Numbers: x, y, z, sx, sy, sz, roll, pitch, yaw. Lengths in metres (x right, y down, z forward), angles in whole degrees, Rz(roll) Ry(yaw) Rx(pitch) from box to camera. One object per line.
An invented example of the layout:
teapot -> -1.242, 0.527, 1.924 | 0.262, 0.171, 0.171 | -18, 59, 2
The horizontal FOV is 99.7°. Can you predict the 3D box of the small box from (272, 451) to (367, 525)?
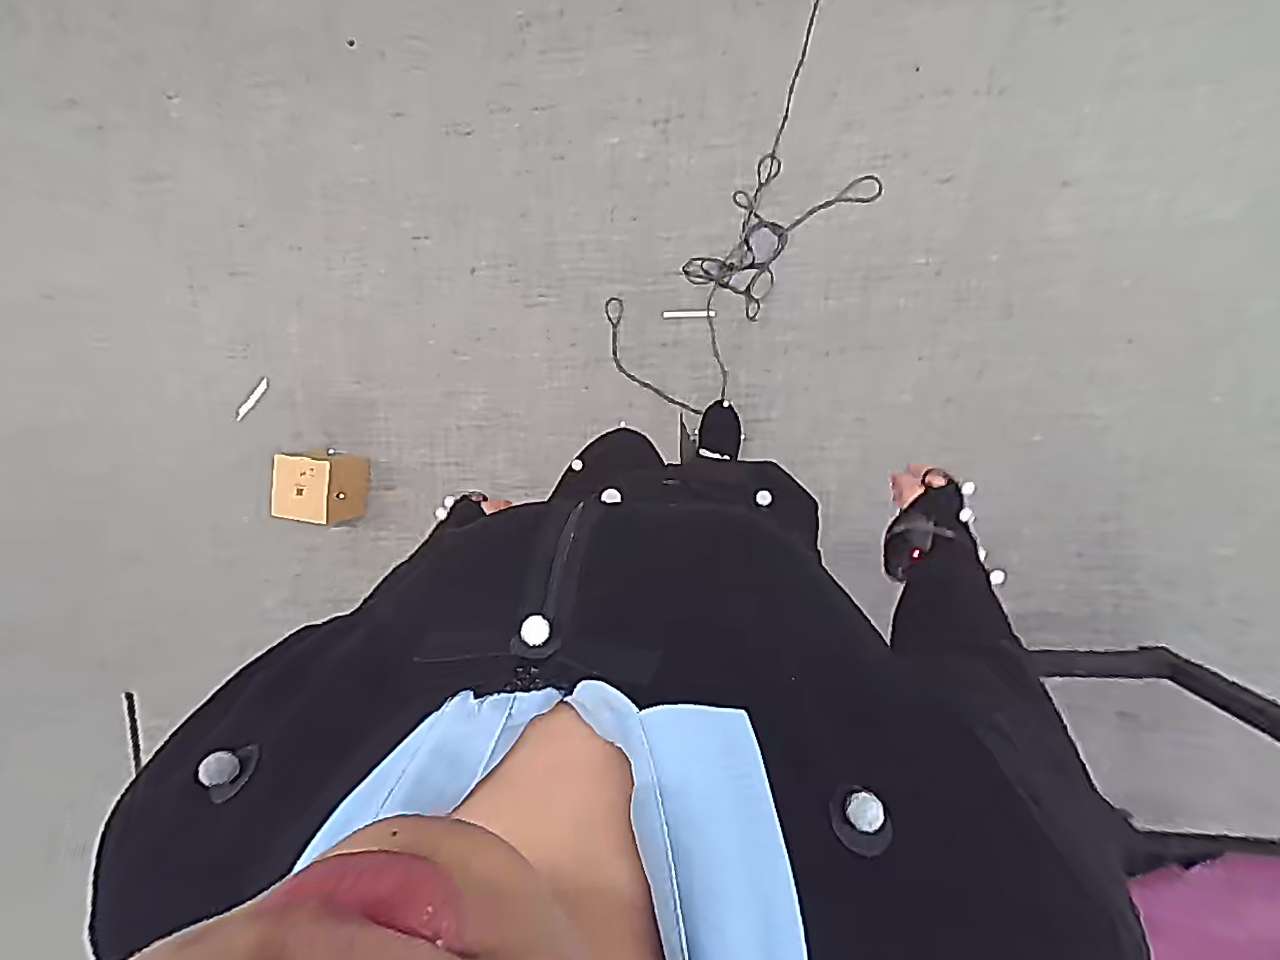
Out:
small box -> -0.901, 0.017, 1.531 | 0.168, 0.176, 0.179 | 9, 96, 6
